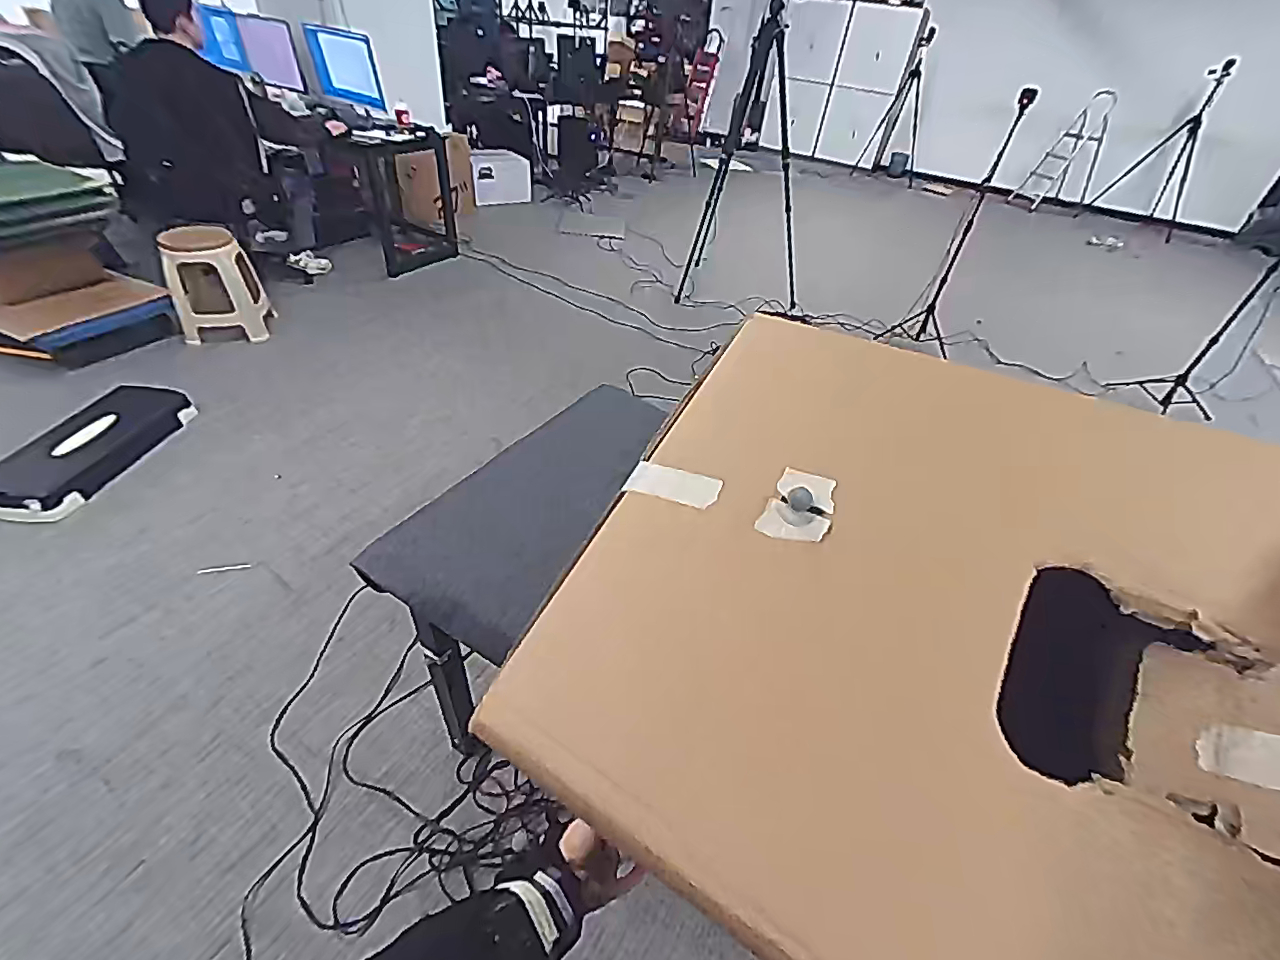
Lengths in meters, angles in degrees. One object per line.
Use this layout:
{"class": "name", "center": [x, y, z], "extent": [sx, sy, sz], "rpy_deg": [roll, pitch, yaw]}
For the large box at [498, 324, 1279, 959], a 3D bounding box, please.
{"class": "large box", "center": [0.155, 0.154, 0.431], "extent": [0.320, 0.408, 0.320], "rpy_deg": [23, 65, 23]}
